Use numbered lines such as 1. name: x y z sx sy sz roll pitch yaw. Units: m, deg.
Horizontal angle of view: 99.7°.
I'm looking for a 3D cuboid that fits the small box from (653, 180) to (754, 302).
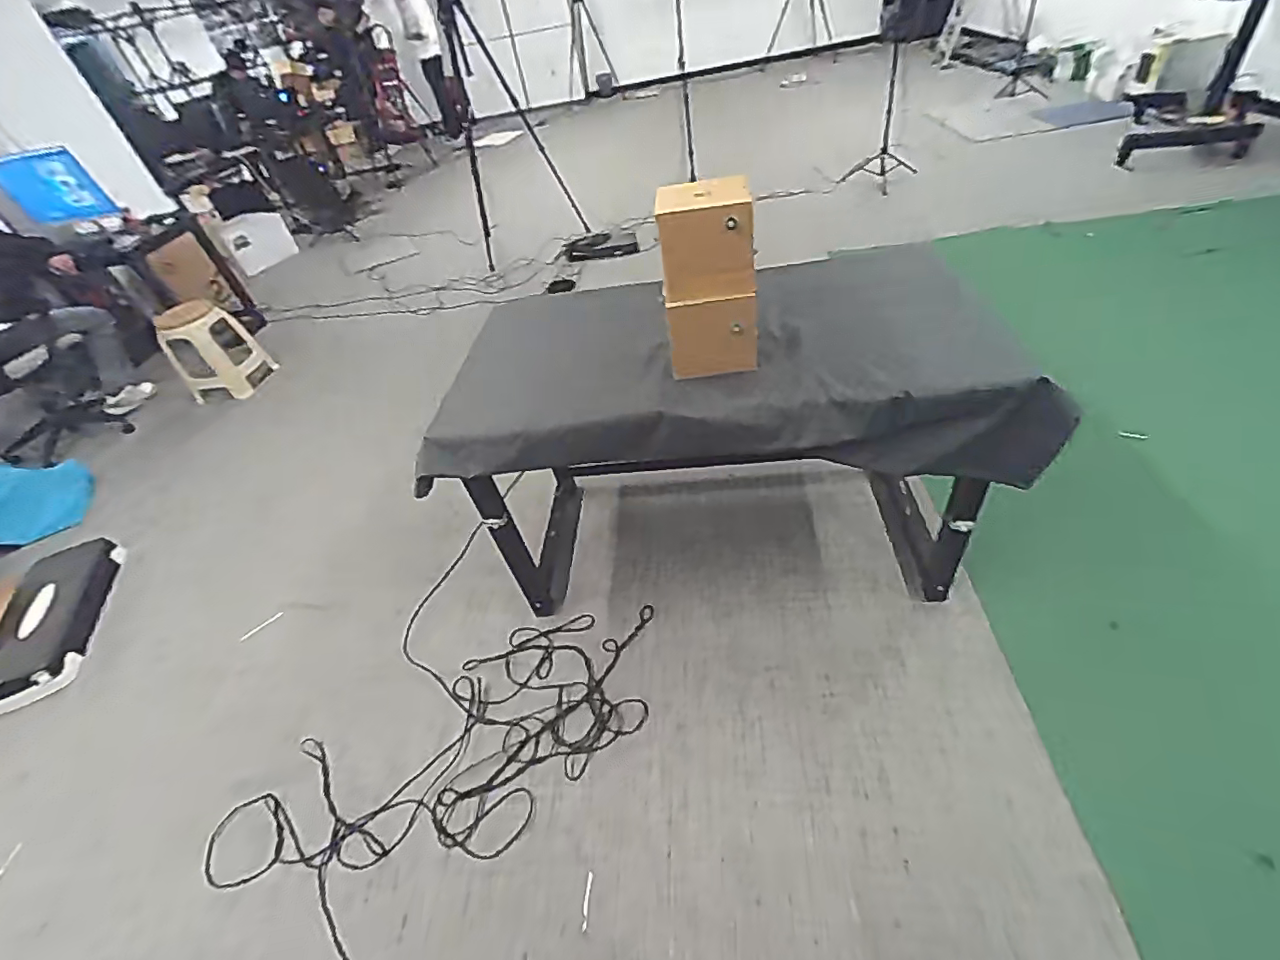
1. small box: 0.127 -0.461 1.053 0.179 0.176 0.168 -4 43 8
